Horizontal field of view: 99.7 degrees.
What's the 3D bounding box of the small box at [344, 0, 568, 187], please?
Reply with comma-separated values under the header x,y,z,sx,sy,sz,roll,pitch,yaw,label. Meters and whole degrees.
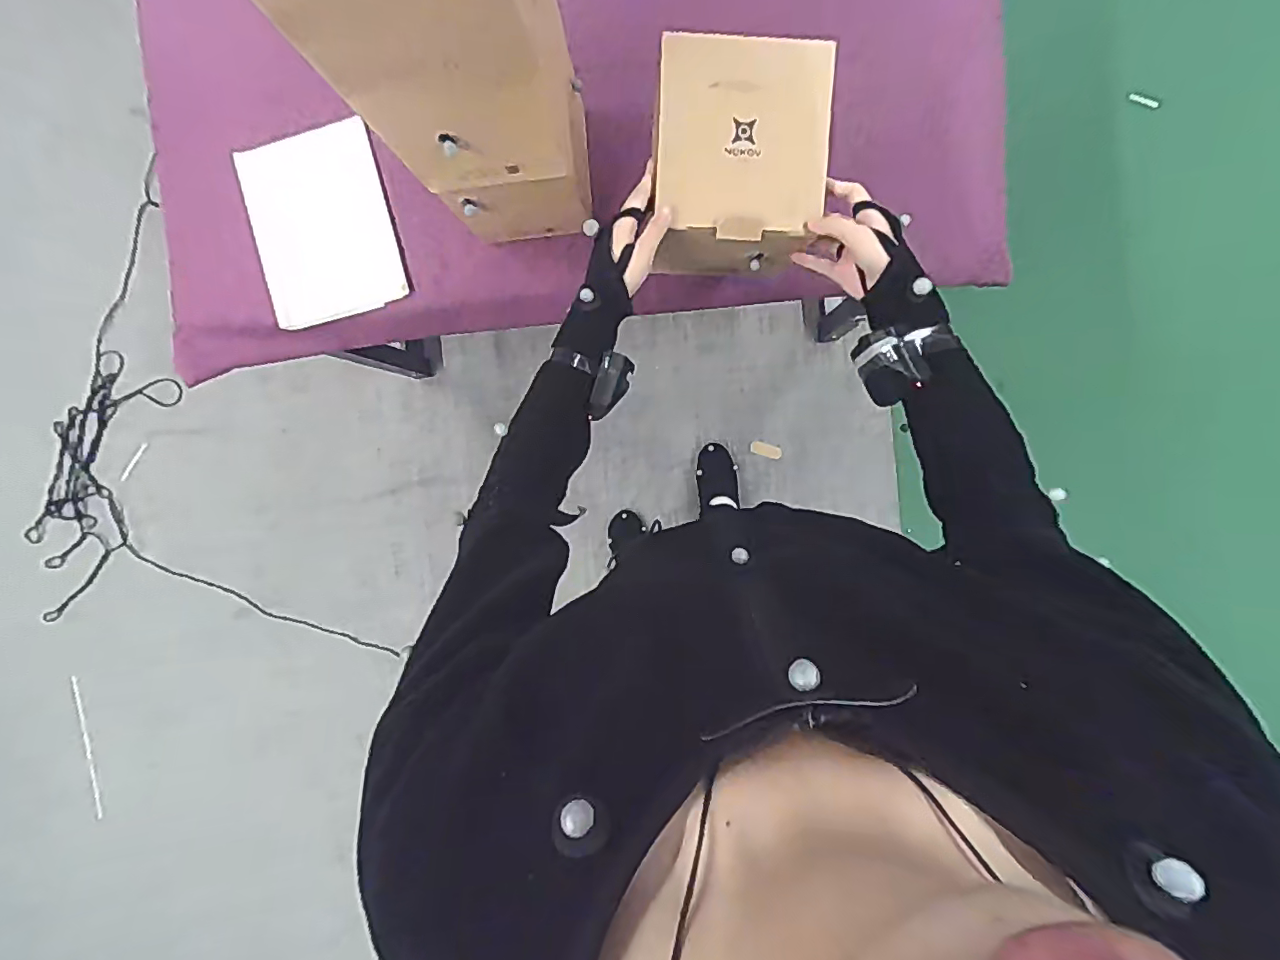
x,y,z,sx,sy,sz,roll,pitch,yaw,label
-0.171,-0.414,0.533,0.168,0.176,0.179,-4,91,4,small box
